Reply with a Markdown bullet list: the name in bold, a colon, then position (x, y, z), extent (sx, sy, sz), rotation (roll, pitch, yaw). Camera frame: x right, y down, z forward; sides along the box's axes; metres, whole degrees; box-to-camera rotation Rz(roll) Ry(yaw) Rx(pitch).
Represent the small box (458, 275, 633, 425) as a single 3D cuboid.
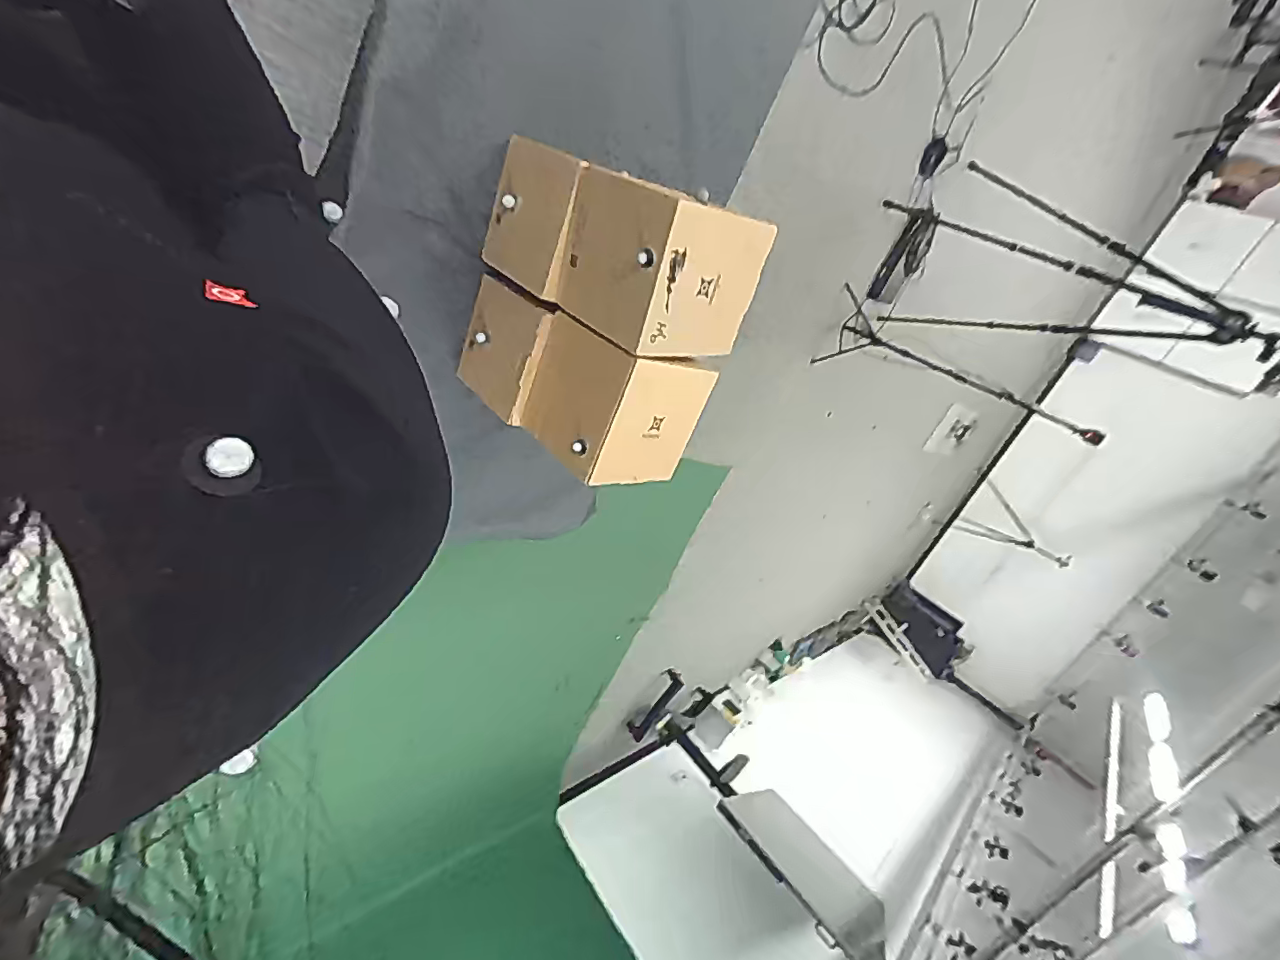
- **small box**: position (-0.149, -0.198, 0.836), extent (0.179, 0.176, 0.168), rotation (-2, 123, -48)
